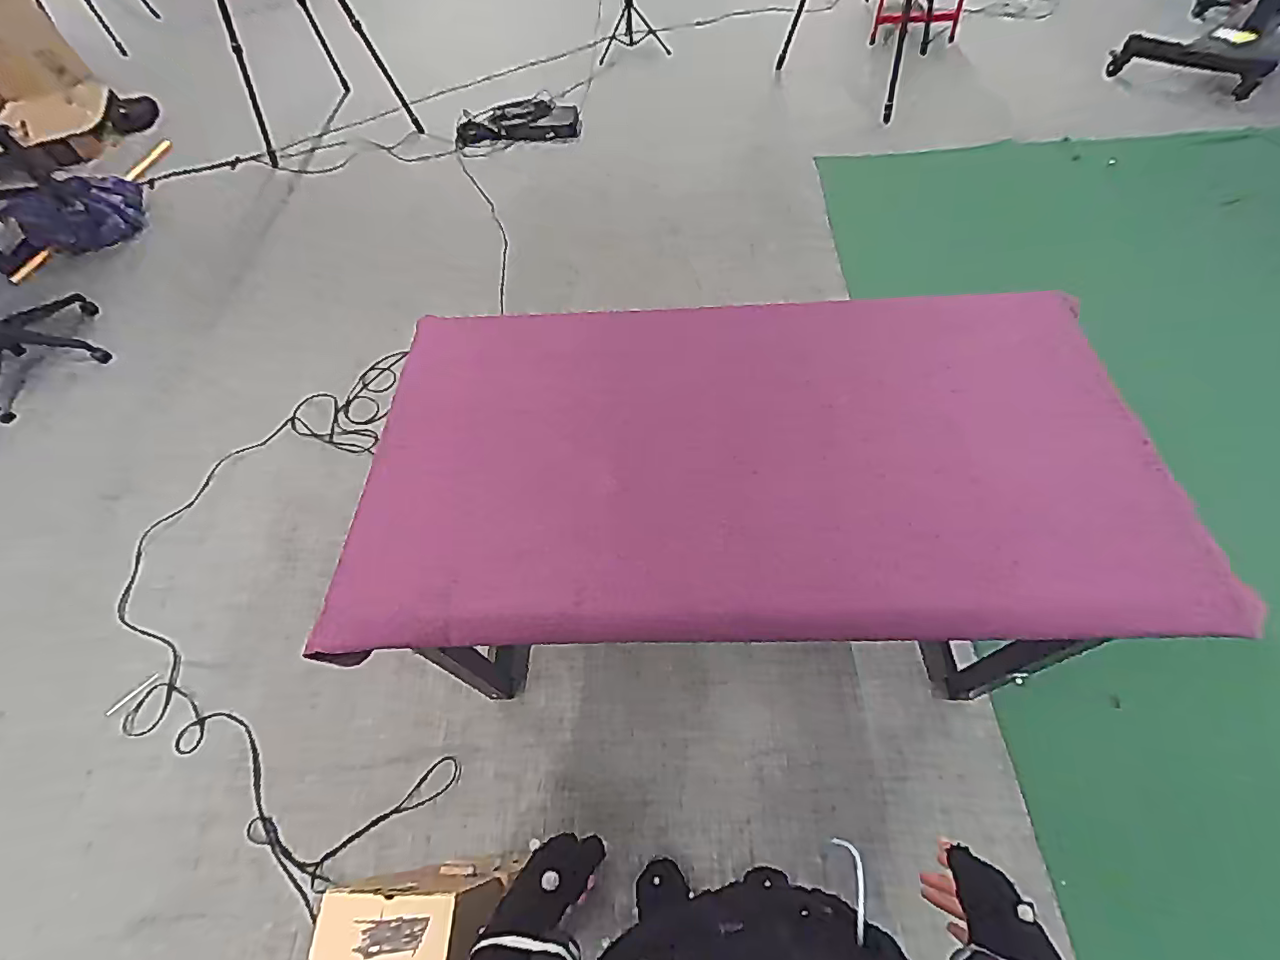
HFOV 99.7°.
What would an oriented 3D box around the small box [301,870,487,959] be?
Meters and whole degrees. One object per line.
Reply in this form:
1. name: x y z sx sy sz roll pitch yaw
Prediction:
1. small box: -0.303 0.604 0.675 0.168 0.176 0.179 0 61 4
